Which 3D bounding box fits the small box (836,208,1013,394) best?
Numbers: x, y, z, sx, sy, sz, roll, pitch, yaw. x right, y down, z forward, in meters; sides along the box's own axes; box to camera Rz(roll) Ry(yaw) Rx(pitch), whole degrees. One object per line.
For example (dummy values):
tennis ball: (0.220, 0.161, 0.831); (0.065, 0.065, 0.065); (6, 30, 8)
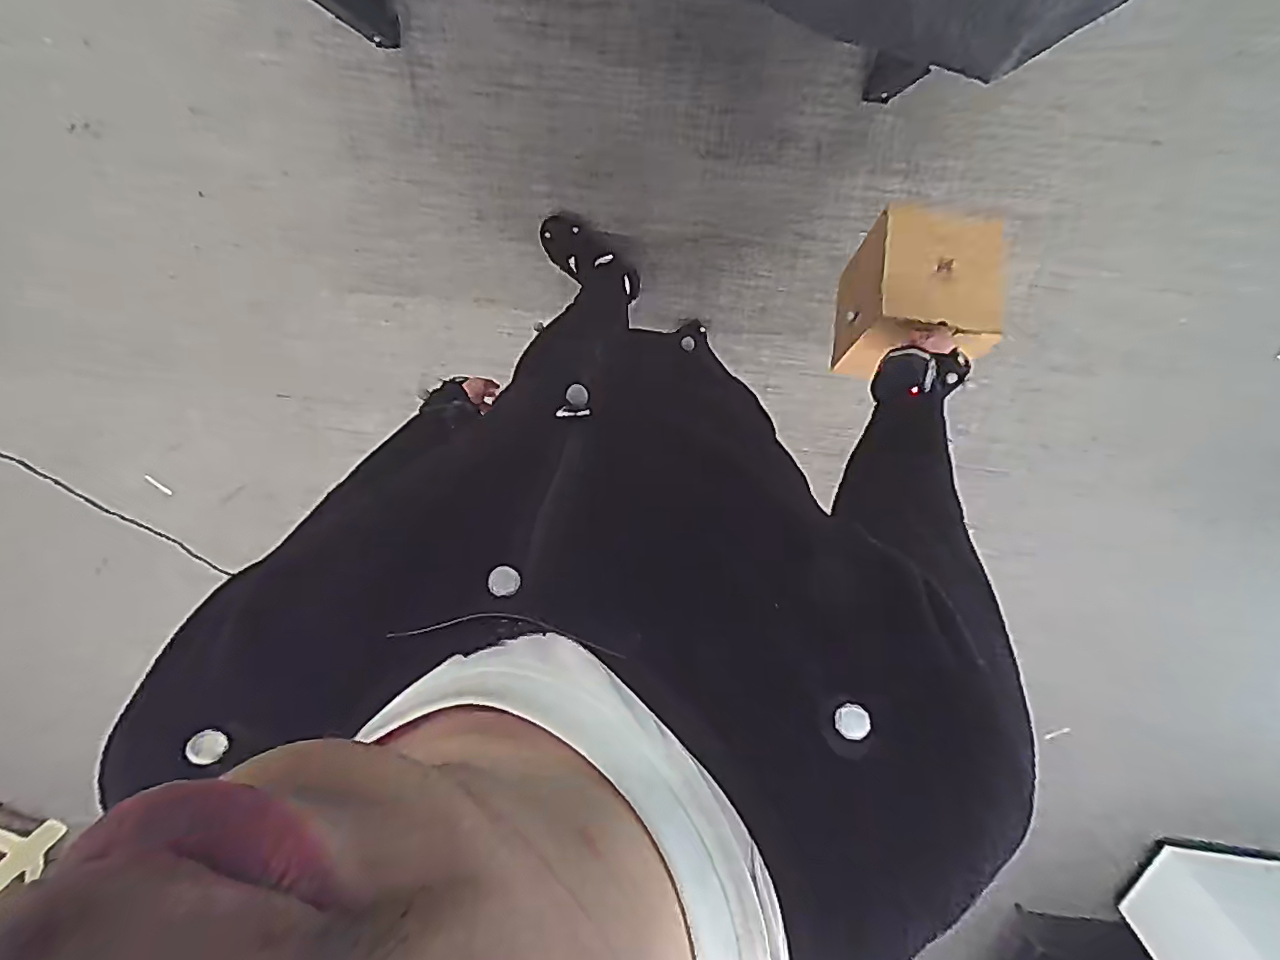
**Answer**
small box: (0.402, -0.248, 0.785); (0.168, 0.176, 0.179); (13, 71, -2)
